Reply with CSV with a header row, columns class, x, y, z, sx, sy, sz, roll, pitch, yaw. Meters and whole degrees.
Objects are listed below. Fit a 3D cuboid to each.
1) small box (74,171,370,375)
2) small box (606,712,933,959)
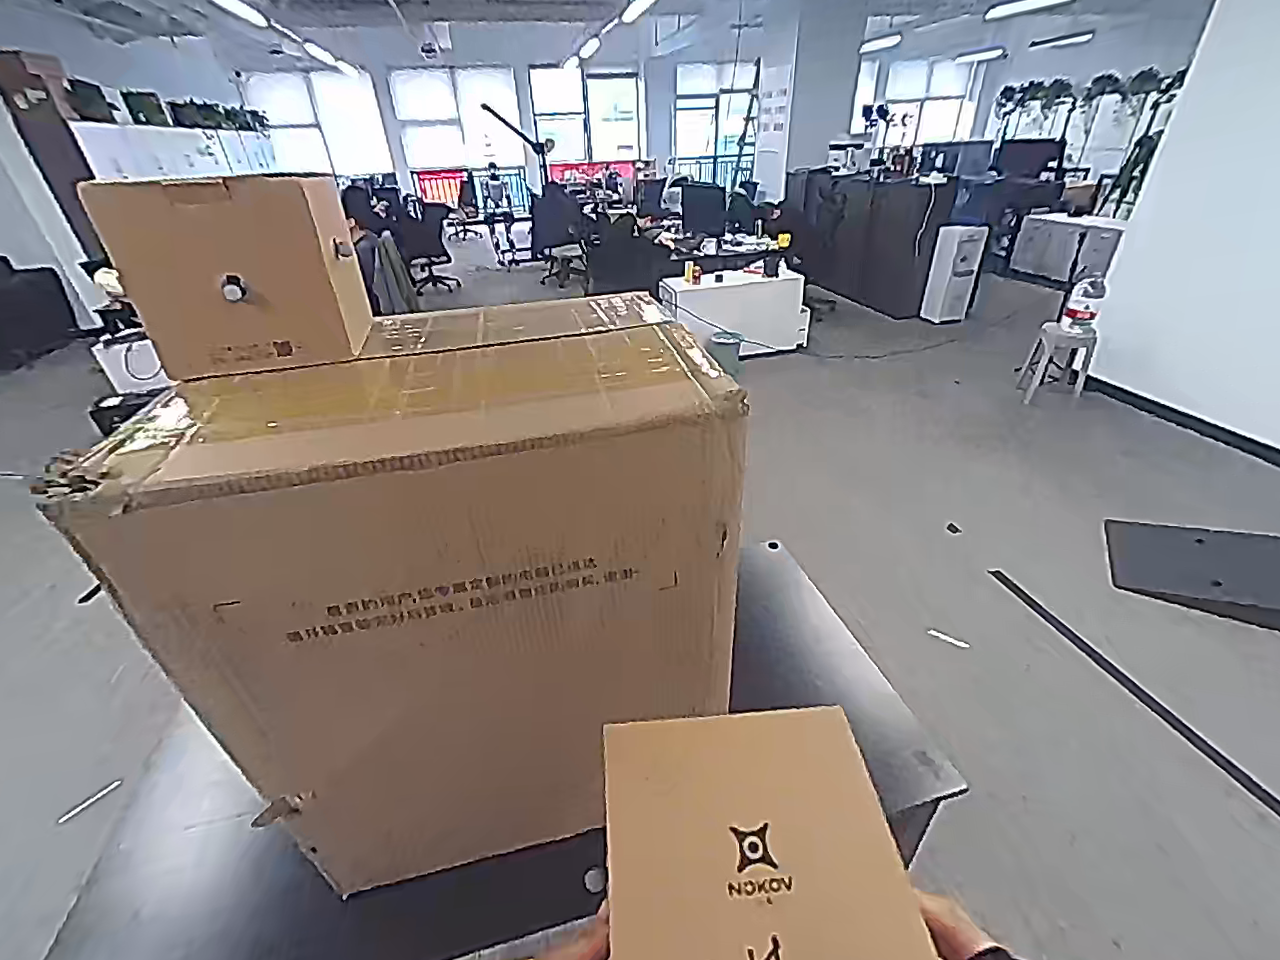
class,x,y,z,sx,sy,sz,roll,pitch,yaw
small box,-0.394,-0.214,0.556,0.168,0.176,0.179,-11,32,-14
small box,0.063,0.279,0.351,0.168,0.176,0.179,-3,40,-3
